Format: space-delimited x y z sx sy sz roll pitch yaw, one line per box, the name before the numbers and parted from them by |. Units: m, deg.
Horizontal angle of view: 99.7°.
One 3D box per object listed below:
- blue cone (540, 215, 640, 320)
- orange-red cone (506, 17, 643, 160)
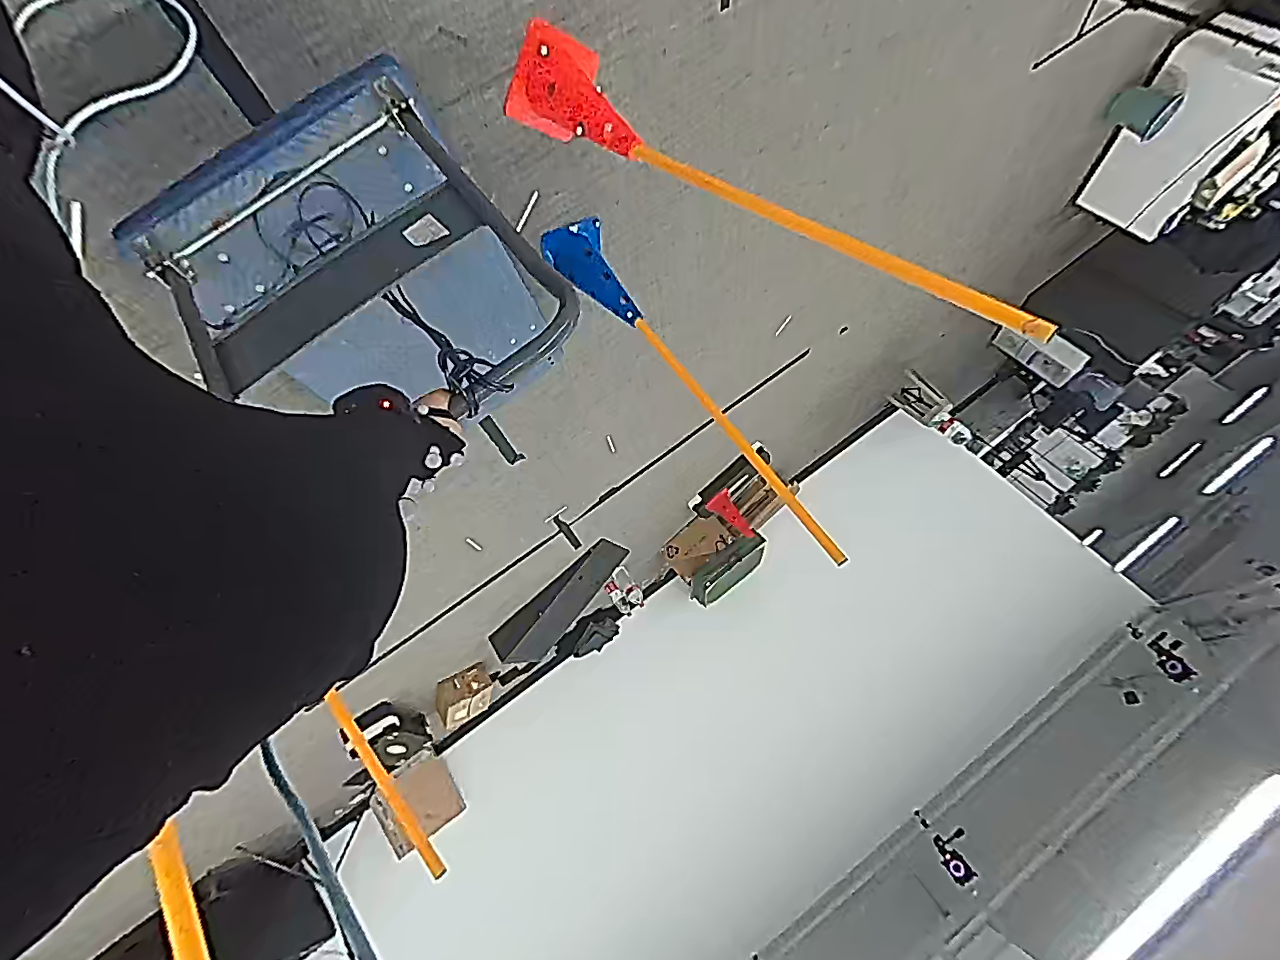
blue cone | -0.118 -0.577 1.566 0.193 0.380 0.192 -28 152 -22
orange-red cone | -0.105 -0.799 1.183 0.198 0.360 0.199 -7 142 -47
